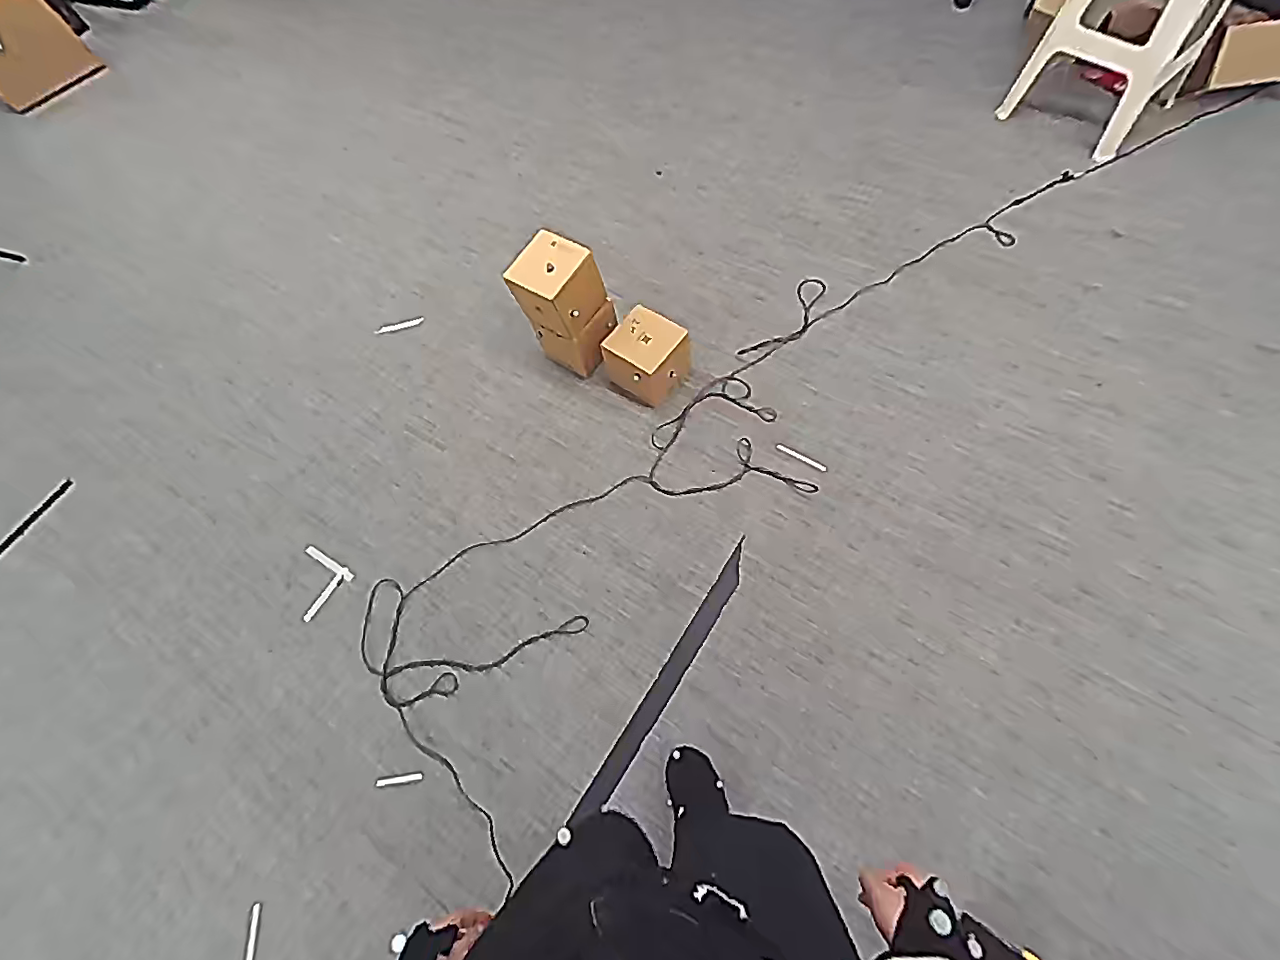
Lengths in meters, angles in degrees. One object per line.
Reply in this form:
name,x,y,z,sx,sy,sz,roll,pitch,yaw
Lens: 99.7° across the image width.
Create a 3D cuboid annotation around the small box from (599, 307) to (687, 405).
small box,0.018,-0.332,1.486,0.179,0.176,0.168,34,74,21
